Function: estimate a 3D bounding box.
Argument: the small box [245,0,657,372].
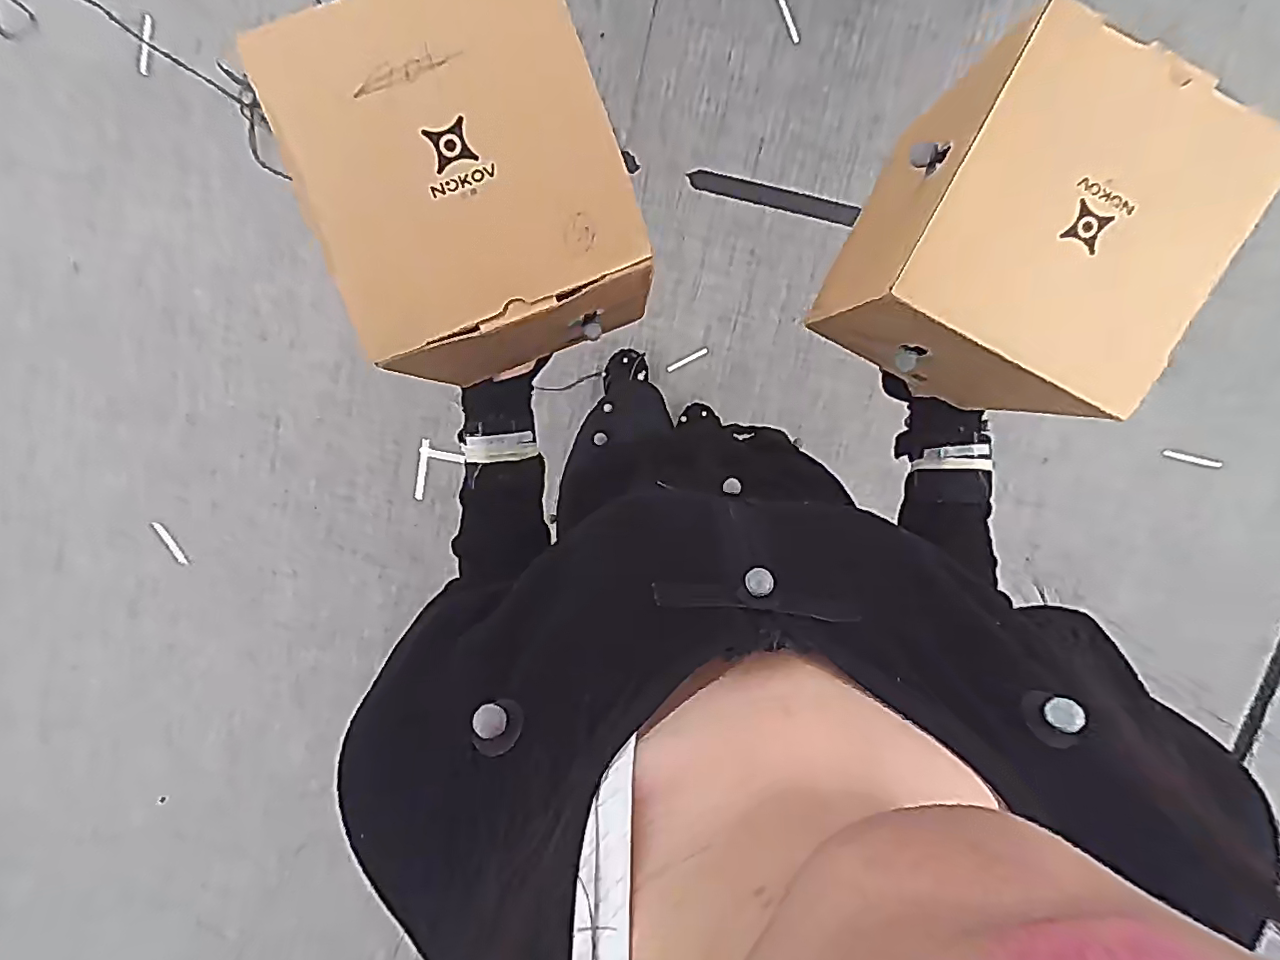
[{"bbox_3d":[-0.097,-0.180,0.361,0.168,0.176,0.179,-22,96,-1],"label":"small box"}]

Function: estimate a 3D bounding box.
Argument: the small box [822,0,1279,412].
[{"bbox_3d":[0.253,-0.163,0.382,0.168,0.176,0.179,26,98,-4],"label":"small box"}]
